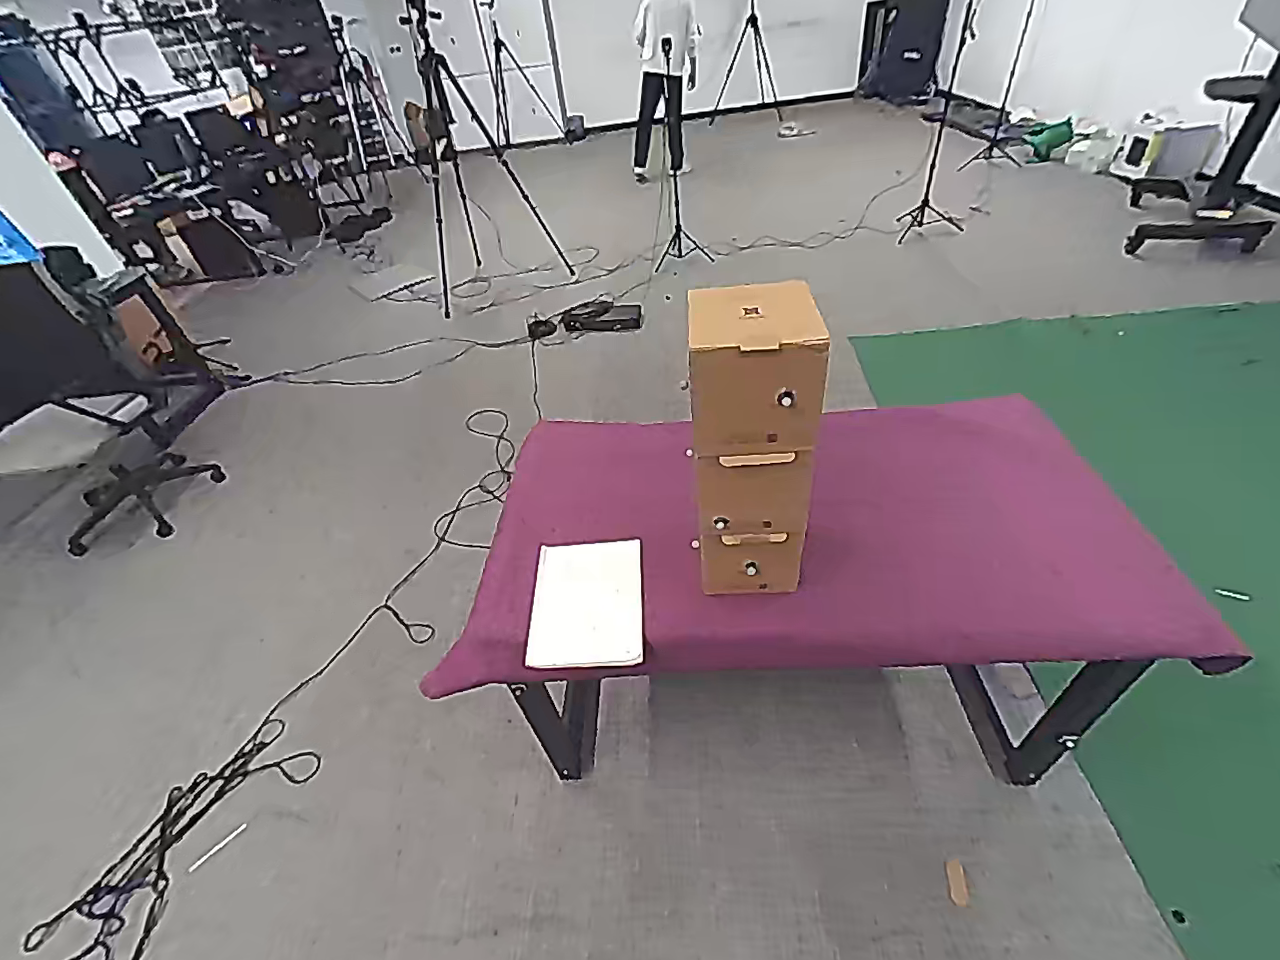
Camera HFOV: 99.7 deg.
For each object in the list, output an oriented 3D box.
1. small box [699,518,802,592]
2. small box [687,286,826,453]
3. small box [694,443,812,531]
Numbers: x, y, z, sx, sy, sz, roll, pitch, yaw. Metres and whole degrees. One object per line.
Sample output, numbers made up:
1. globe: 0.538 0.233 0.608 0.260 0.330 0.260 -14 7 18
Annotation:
1. small box: 0.192 0.088 0.976 0.168 0.176 0.179 -3 42 6
2. small box: 0.154 -0.149 0.751 0.168 0.176 0.179 -2 41 7
3. small box: 0.173 -0.030 0.862 0.168 0.176 0.179 -3 40 7
